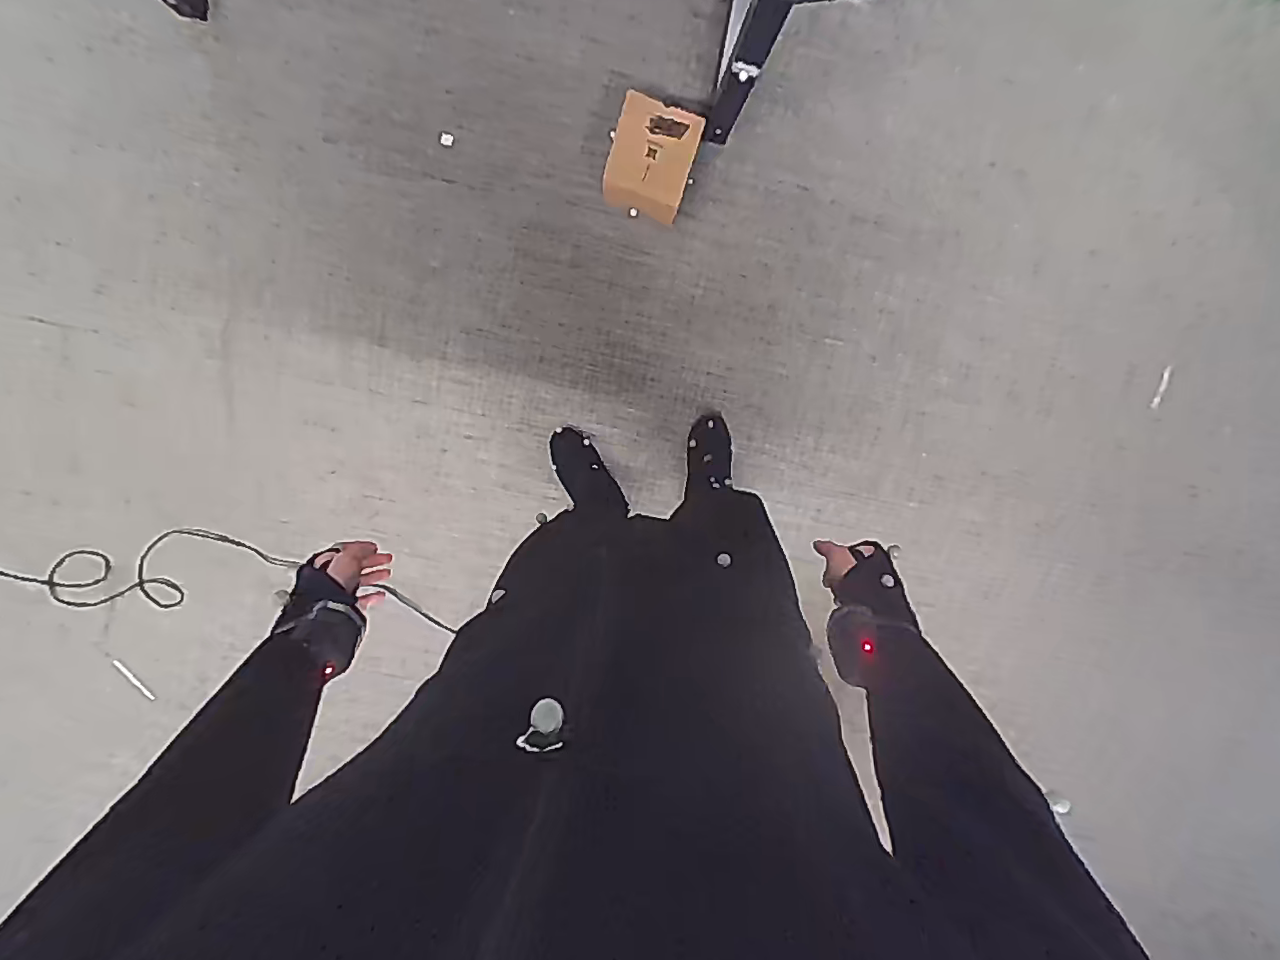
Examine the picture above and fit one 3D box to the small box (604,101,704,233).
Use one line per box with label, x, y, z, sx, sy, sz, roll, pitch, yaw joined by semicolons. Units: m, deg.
small box;0.024;-0.666;1.171;0.168;0.176;0.179;17;101;-5
